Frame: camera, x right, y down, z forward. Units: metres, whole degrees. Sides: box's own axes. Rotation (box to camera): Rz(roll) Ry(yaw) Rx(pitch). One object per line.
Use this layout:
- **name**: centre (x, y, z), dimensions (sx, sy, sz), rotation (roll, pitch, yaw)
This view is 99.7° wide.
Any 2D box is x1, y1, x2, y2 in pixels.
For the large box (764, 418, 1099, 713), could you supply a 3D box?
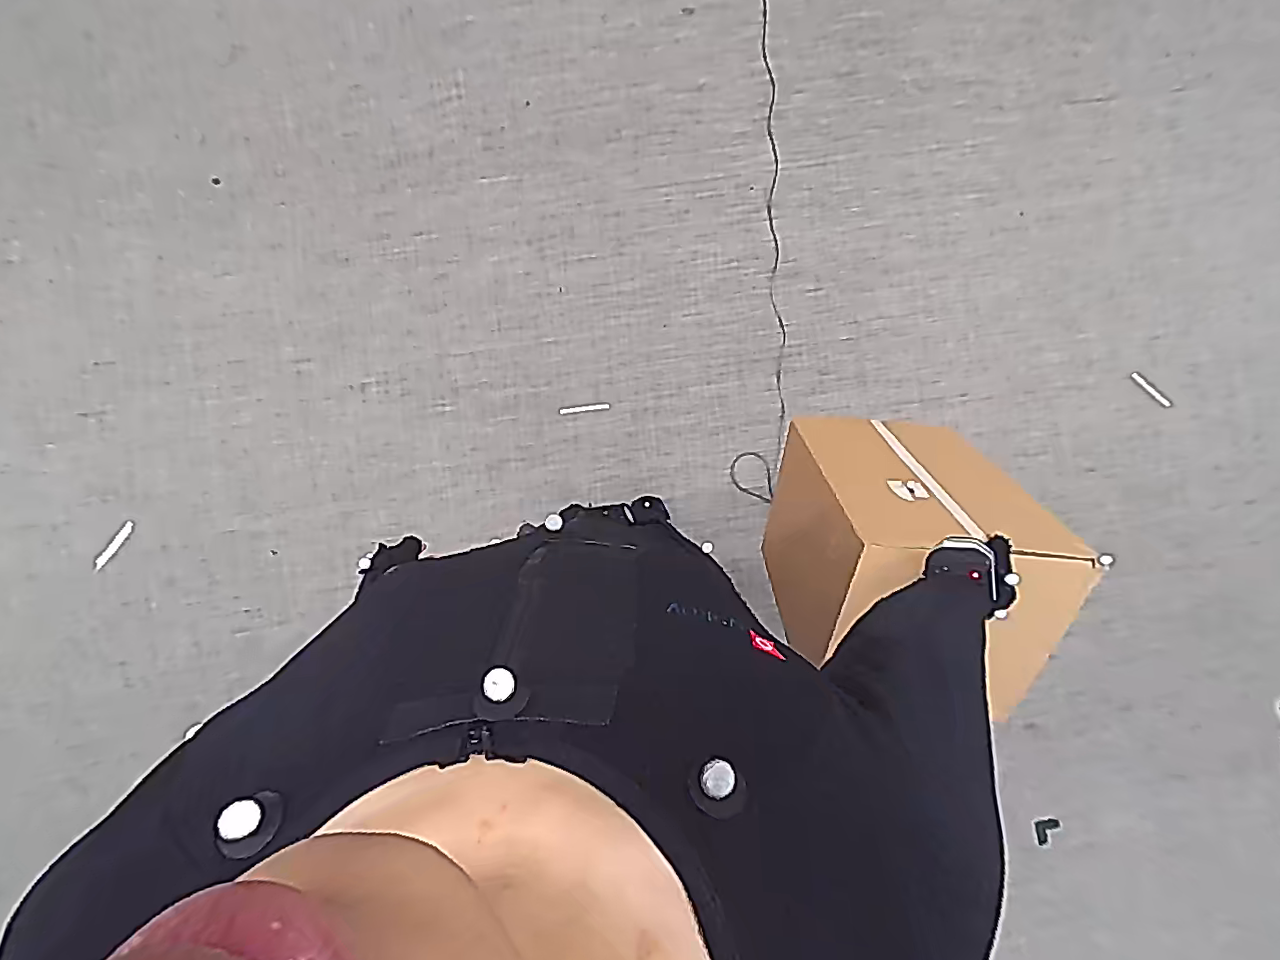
- **large box**: centre (0.430, 0.125, 0.937), dimensions (0.320, 0.408, 0.320), rotation (4, 121, -1)
